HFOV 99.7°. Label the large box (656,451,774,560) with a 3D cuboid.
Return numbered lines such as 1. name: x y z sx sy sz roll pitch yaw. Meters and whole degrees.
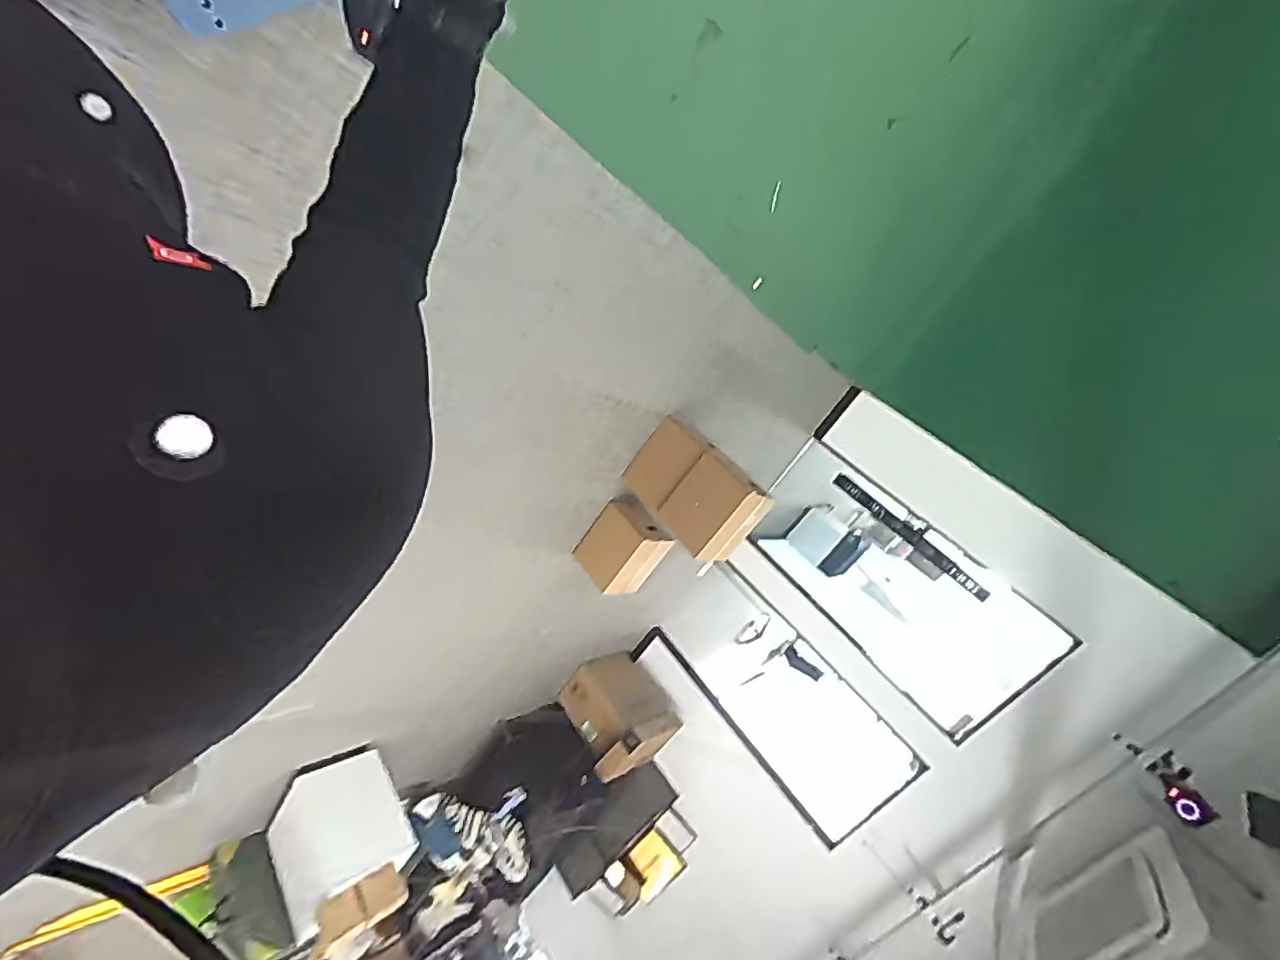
1. large box: 0.351 0.128 2.578 0.320 0.320 0.408 14 117 -54
